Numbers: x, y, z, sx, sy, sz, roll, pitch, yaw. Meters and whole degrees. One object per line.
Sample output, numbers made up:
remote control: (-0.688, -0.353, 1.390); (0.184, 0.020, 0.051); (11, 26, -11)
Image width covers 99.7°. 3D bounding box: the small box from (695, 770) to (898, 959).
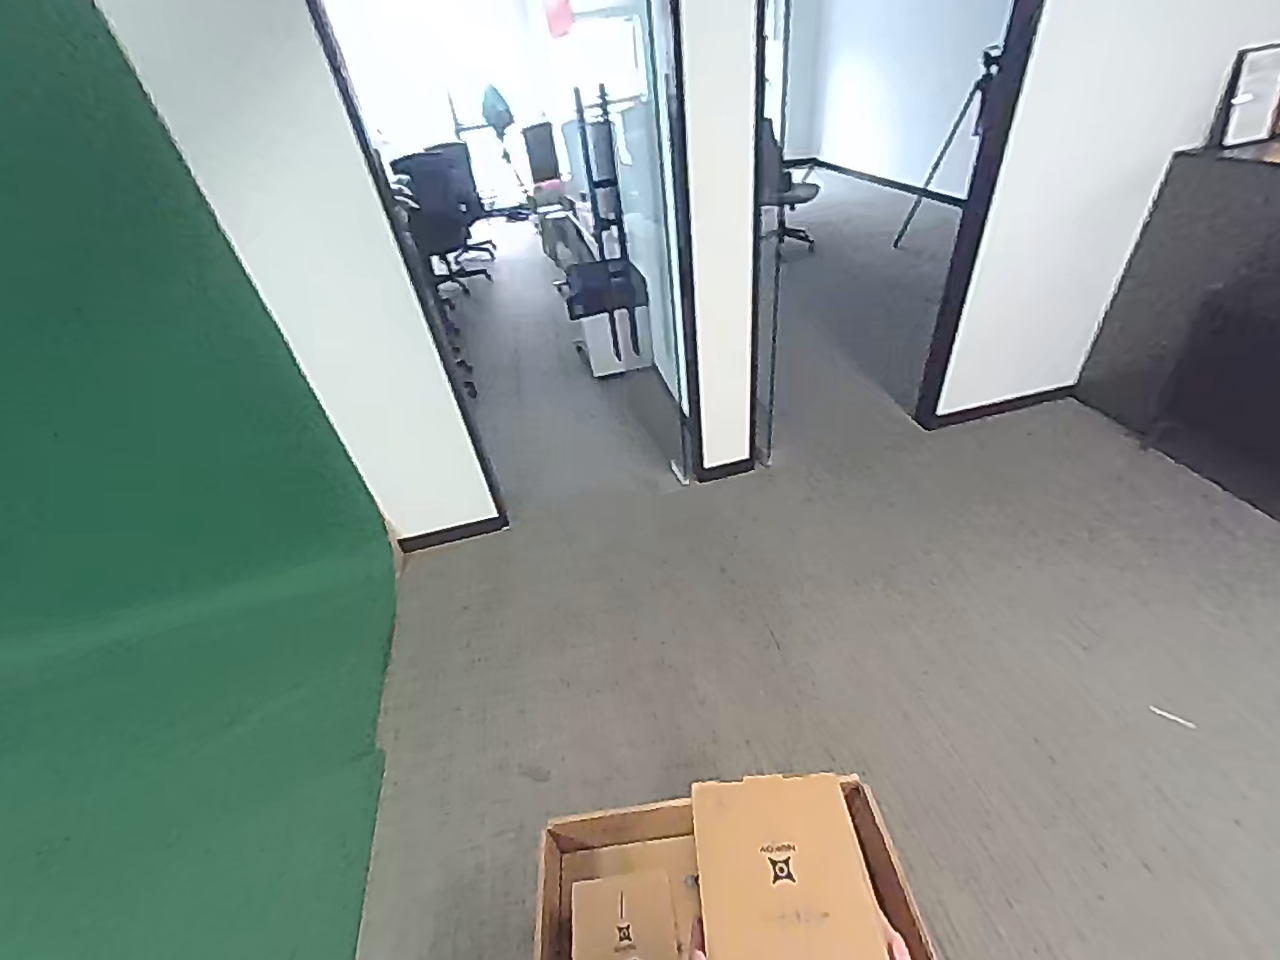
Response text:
small box: (0.147, 0.440, 0.574); (0.168, 0.176, 0.179); (-5, 35, 3)
